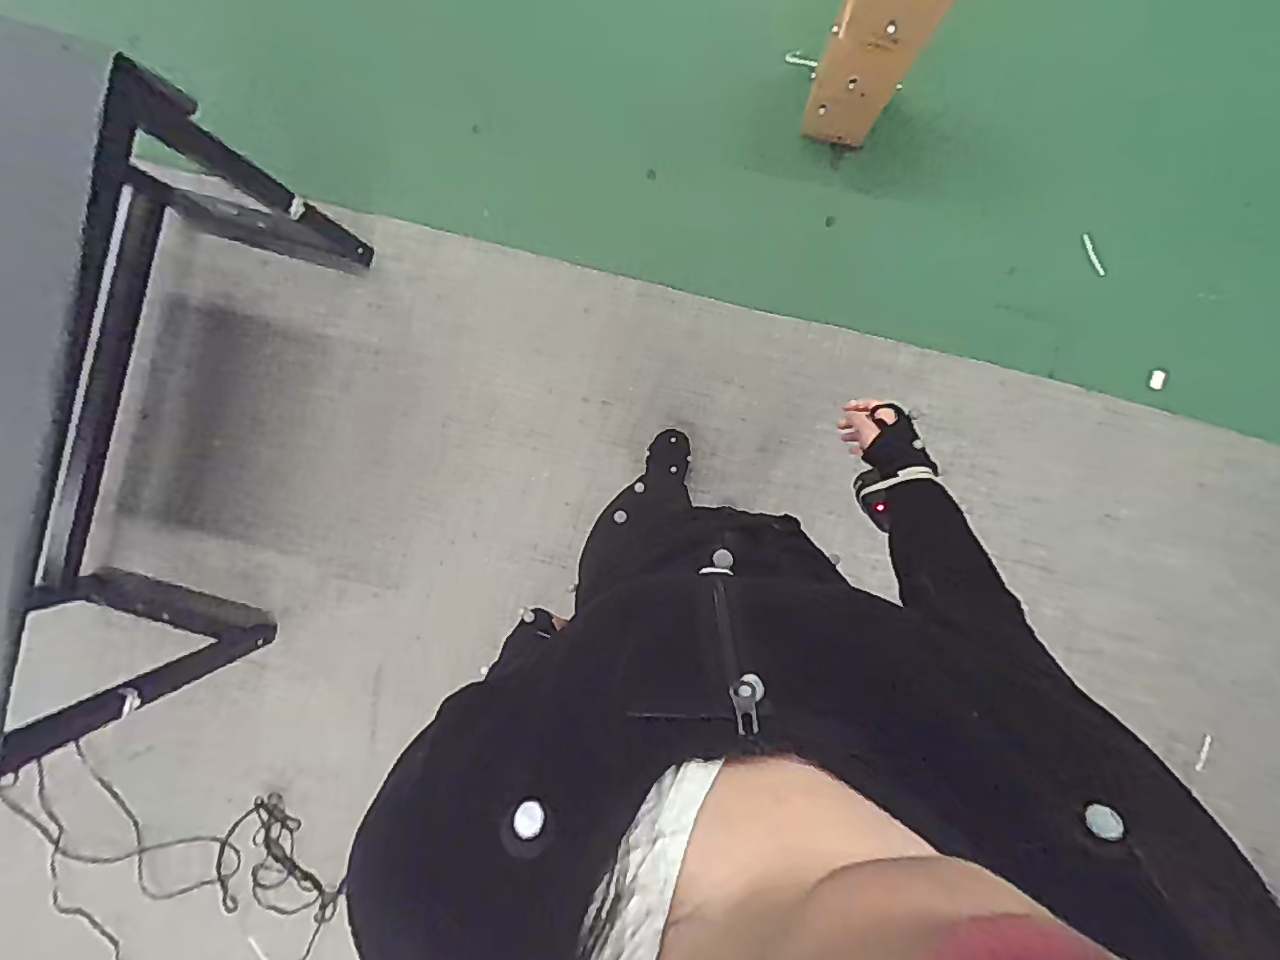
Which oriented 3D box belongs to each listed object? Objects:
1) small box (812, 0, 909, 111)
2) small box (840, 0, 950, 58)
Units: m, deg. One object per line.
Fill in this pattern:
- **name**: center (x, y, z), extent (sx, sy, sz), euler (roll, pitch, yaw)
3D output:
- **small box**: center (0.498, -0.973, 1.198), extent (0.168, 0.176, 0.179), euler (14, 92, 0)
- **small box**: center (0.503, -0.970, 1.032), extent (0.168, 0.176, 0.179), euler (15, 92, 0)
